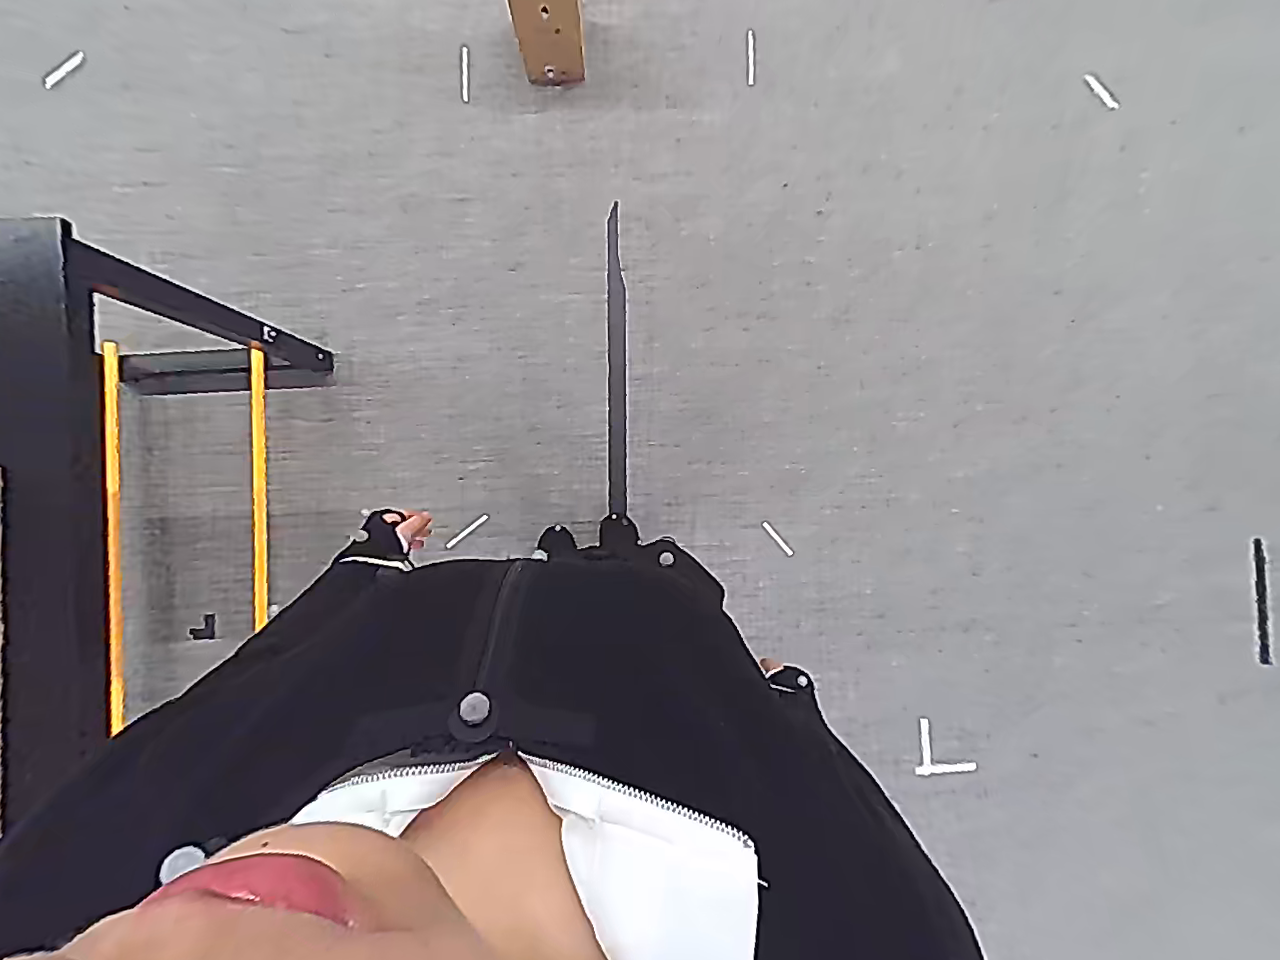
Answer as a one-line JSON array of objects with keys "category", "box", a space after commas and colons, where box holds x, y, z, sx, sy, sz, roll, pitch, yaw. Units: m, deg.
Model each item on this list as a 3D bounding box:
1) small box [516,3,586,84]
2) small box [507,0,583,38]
[{"category": "small box", "box": [-0.232, -1.193, 1.426, 0.168, 0.176, 0.179, -3, 90, 0]}, {"category": "small box", "box": [-0.224, -1.178, 1.262, 0.168, 0.176, 0.179, -1, 90, -1]}]
